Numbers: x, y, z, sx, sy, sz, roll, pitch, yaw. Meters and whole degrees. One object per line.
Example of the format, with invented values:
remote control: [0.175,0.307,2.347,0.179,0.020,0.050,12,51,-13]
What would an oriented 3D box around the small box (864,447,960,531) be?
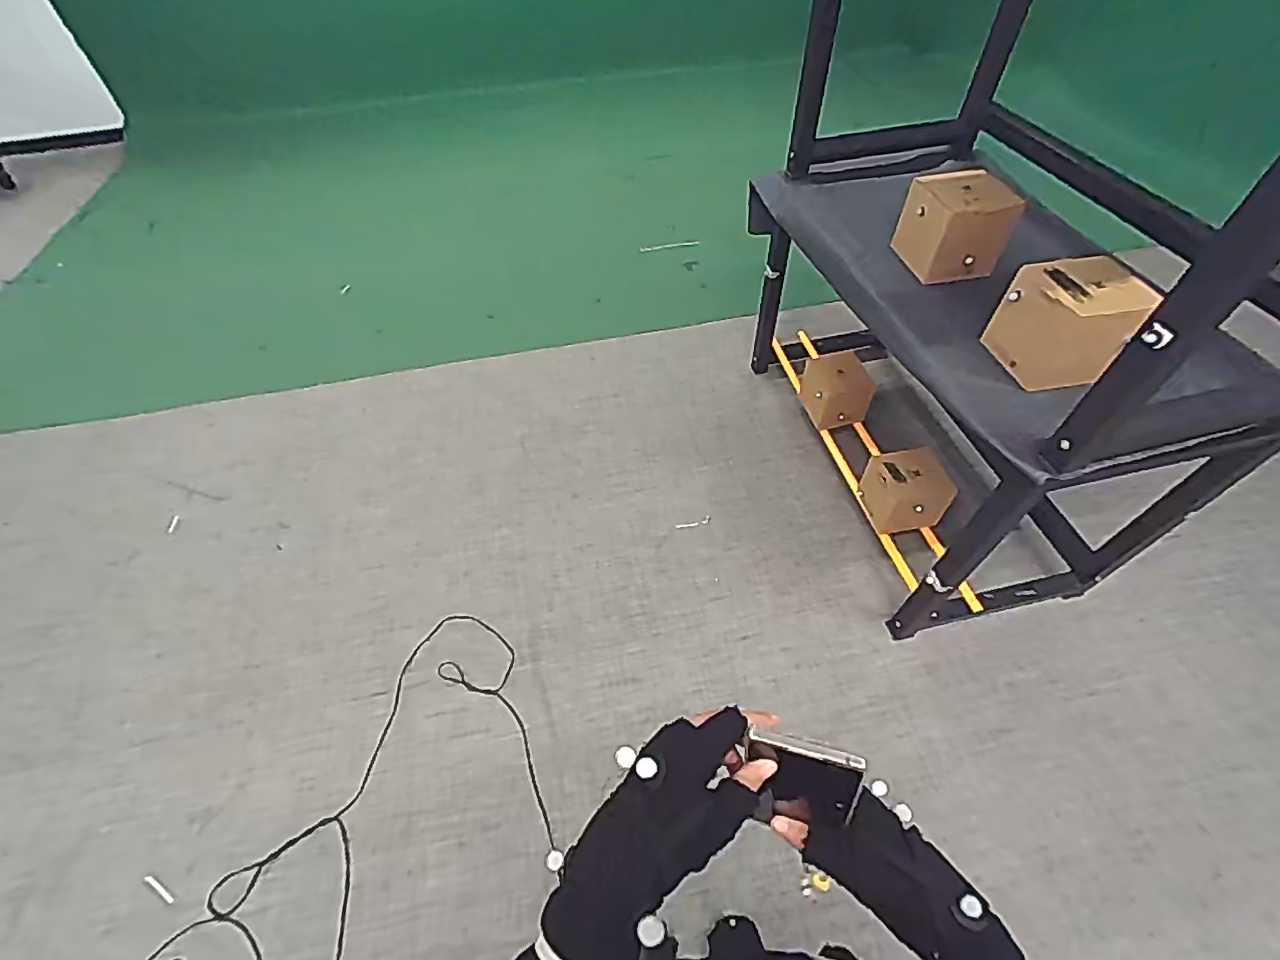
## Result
small box: [0.760,0.031,1.542,0.179,0.176,0.168,-9,53,-3]

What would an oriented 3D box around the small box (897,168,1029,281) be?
small box: [0.718,-0.580,1.229,0.168,0.176,0.179,-9,52,-3]
